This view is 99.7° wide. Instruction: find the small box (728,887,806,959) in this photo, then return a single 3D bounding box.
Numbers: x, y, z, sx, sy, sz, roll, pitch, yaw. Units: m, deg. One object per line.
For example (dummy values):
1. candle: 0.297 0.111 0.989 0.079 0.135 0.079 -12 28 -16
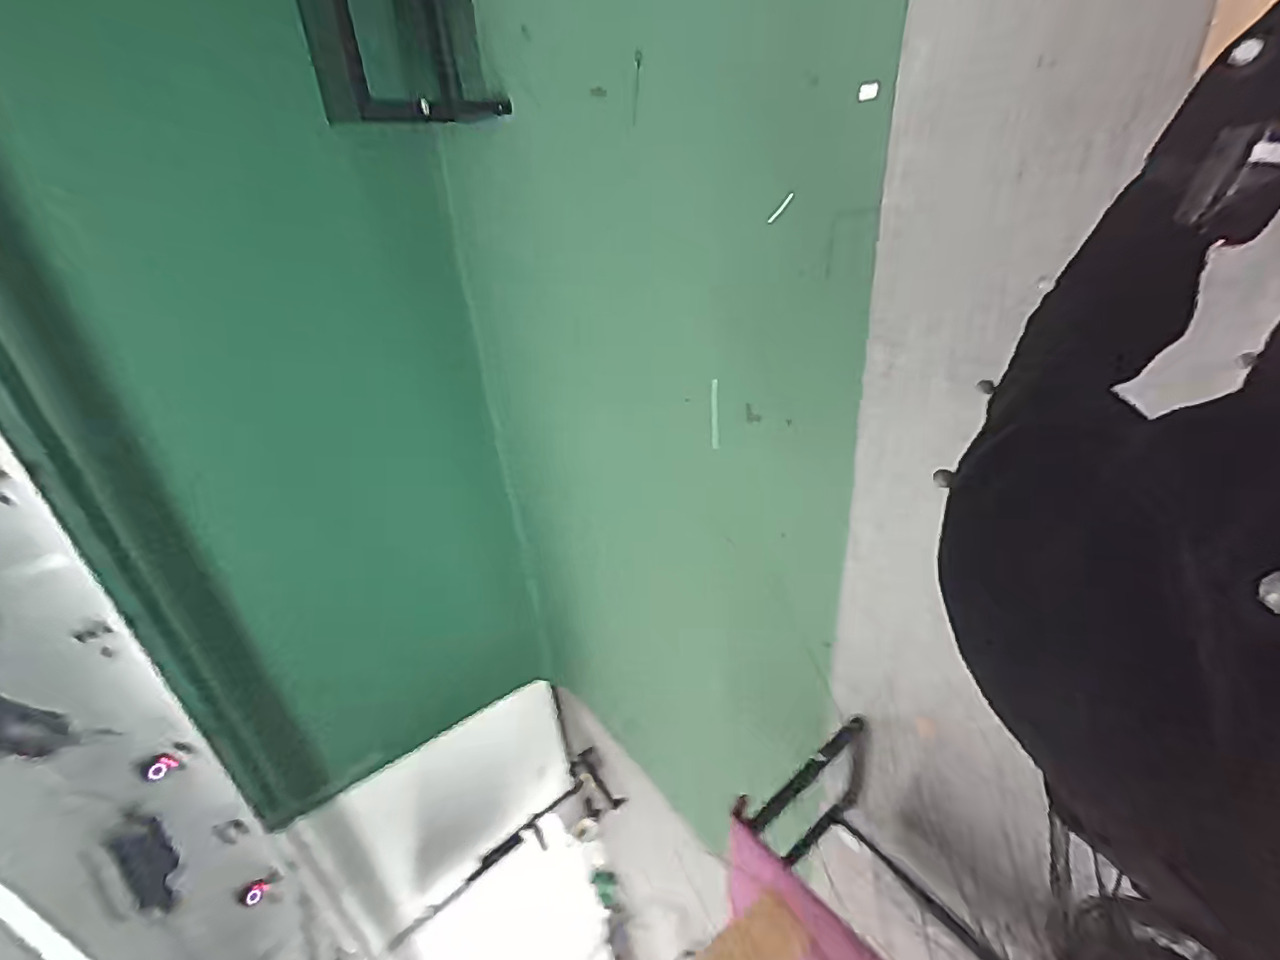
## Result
1. small box: 0.390 1.411 1.658 0.168 0.176 0.179 30 134 44
